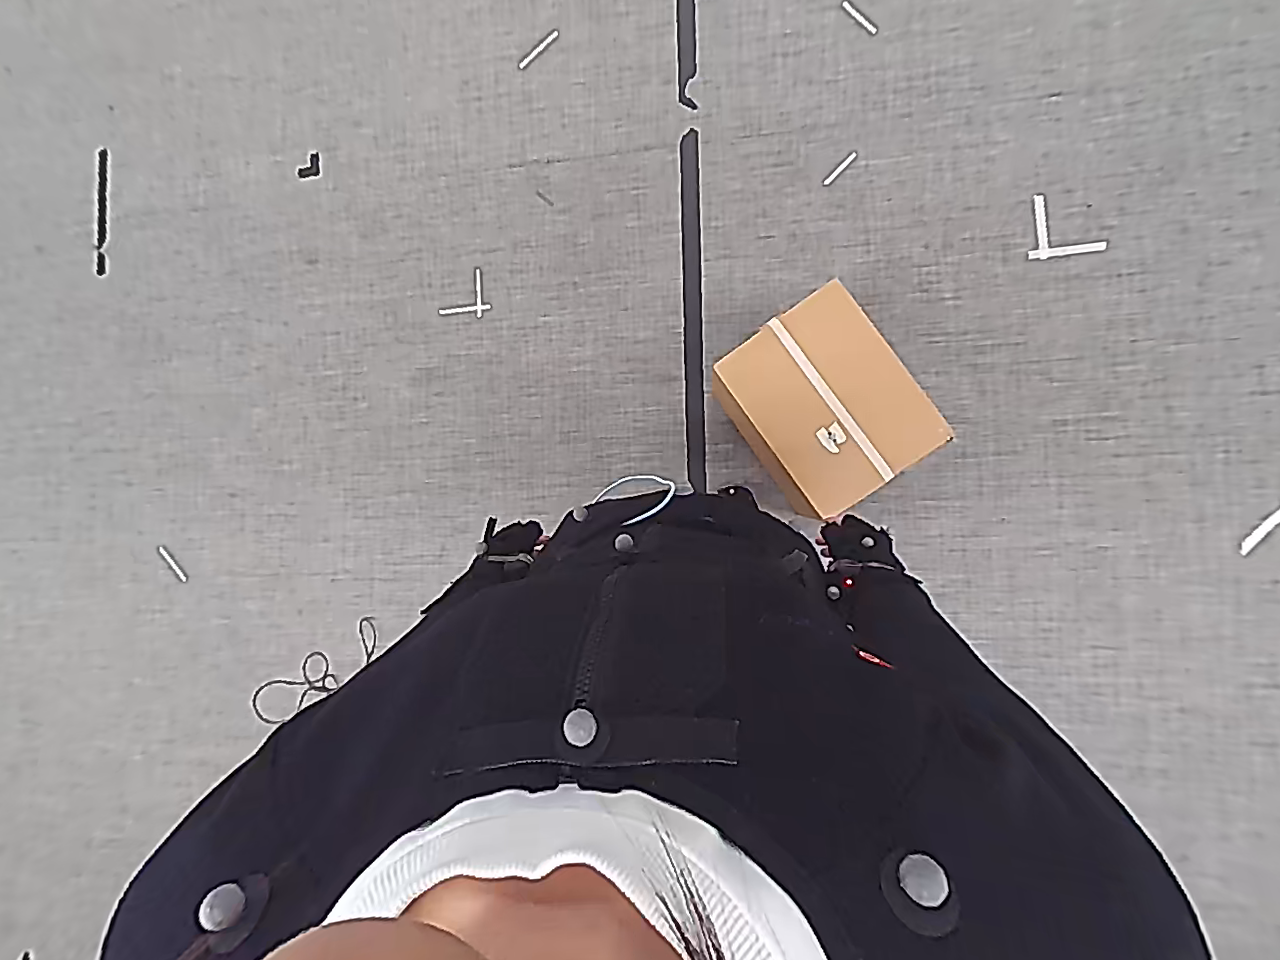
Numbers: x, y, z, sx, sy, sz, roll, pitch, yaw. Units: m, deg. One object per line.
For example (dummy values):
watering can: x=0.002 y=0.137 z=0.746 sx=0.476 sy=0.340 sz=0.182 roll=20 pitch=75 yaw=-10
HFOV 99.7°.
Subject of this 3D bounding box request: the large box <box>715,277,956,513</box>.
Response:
large box: x=0.414 y=-0.175 z=1.259 sx=0.320 sy=0.320 sz=0.408 roll=-35 pitch=85 yaw=6
